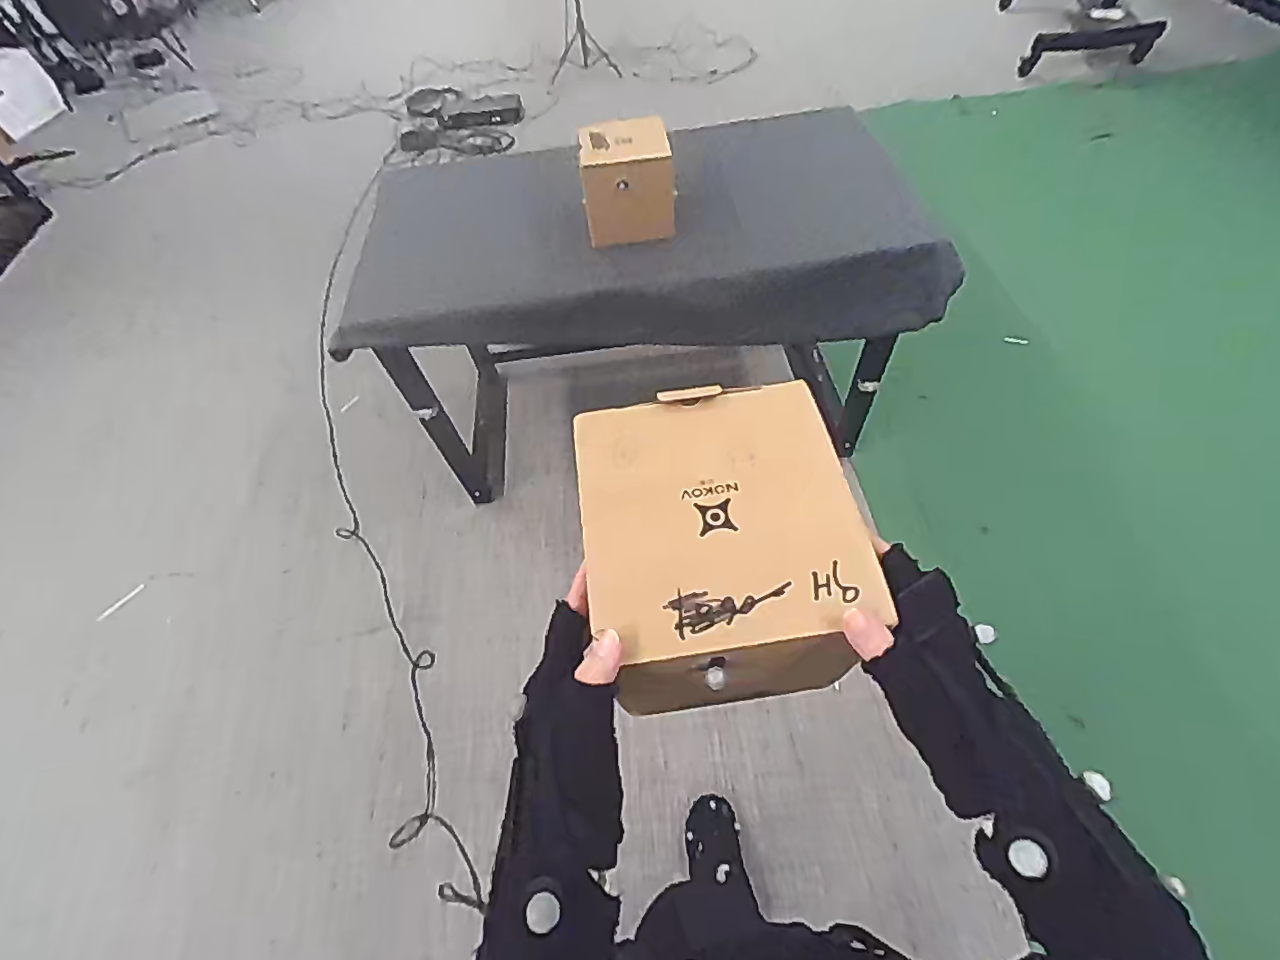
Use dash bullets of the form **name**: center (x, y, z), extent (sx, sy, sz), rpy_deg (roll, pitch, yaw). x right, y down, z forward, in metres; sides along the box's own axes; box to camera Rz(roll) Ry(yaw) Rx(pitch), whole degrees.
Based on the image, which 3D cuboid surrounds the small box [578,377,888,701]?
- **small box**: center (0.051, 0.051, 0.413), extent (0.168, 0.176, 0.179), rpy_deg (-10, 59, -2)

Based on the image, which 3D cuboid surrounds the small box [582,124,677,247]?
- **small box**: center (-0.020, -0.609, 1.130), extent (0.179, 0.176, 0.168), rpy_deg (-6, 56, 1)
